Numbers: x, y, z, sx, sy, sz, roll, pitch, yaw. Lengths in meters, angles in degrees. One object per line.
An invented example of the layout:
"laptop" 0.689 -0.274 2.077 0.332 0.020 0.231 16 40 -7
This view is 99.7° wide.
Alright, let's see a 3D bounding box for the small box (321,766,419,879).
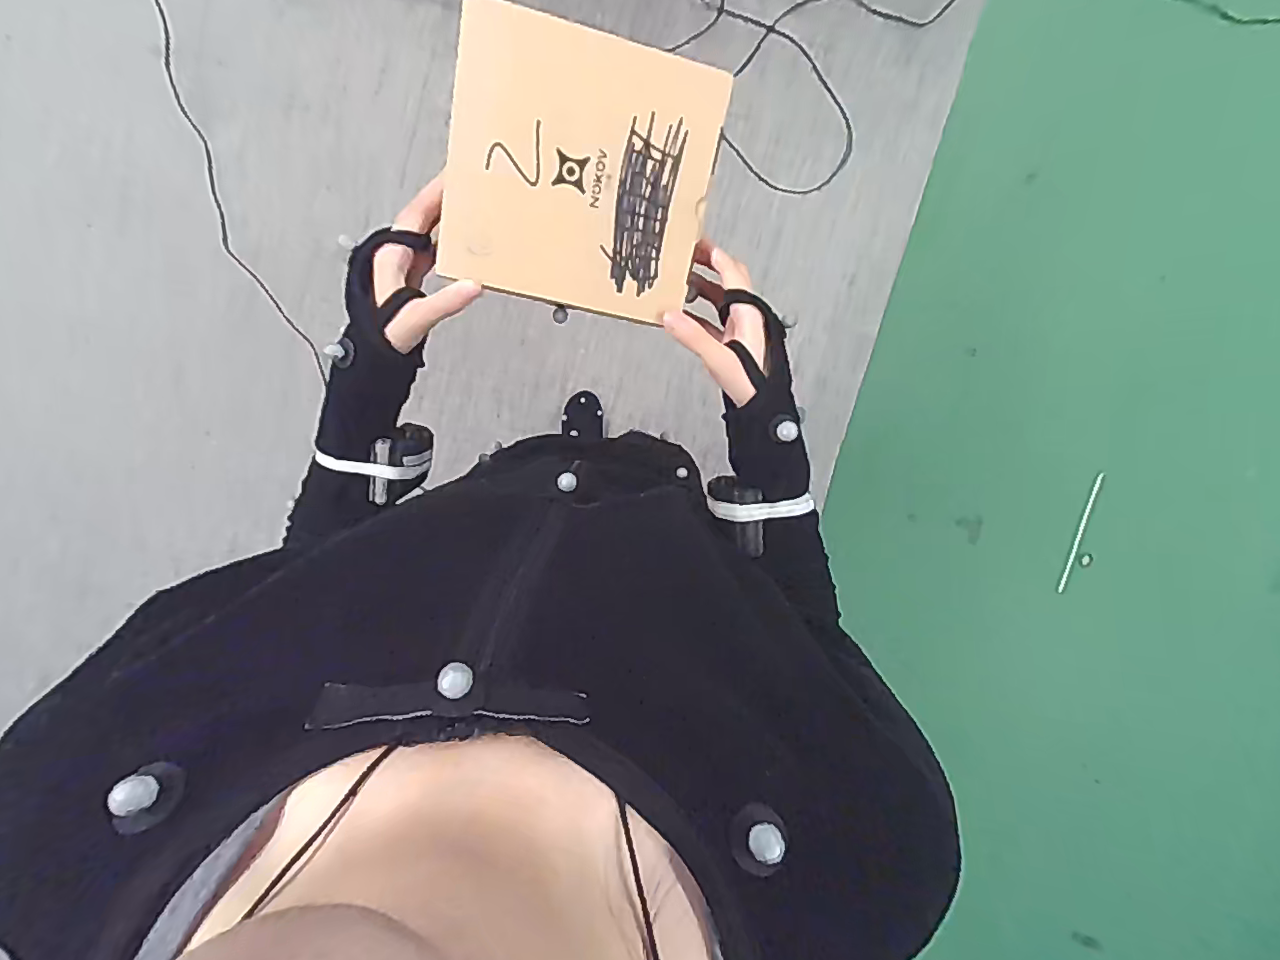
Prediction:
"small box" -0.725 0.924 1.470 0.168 0.176 0.179 16 93 -5
